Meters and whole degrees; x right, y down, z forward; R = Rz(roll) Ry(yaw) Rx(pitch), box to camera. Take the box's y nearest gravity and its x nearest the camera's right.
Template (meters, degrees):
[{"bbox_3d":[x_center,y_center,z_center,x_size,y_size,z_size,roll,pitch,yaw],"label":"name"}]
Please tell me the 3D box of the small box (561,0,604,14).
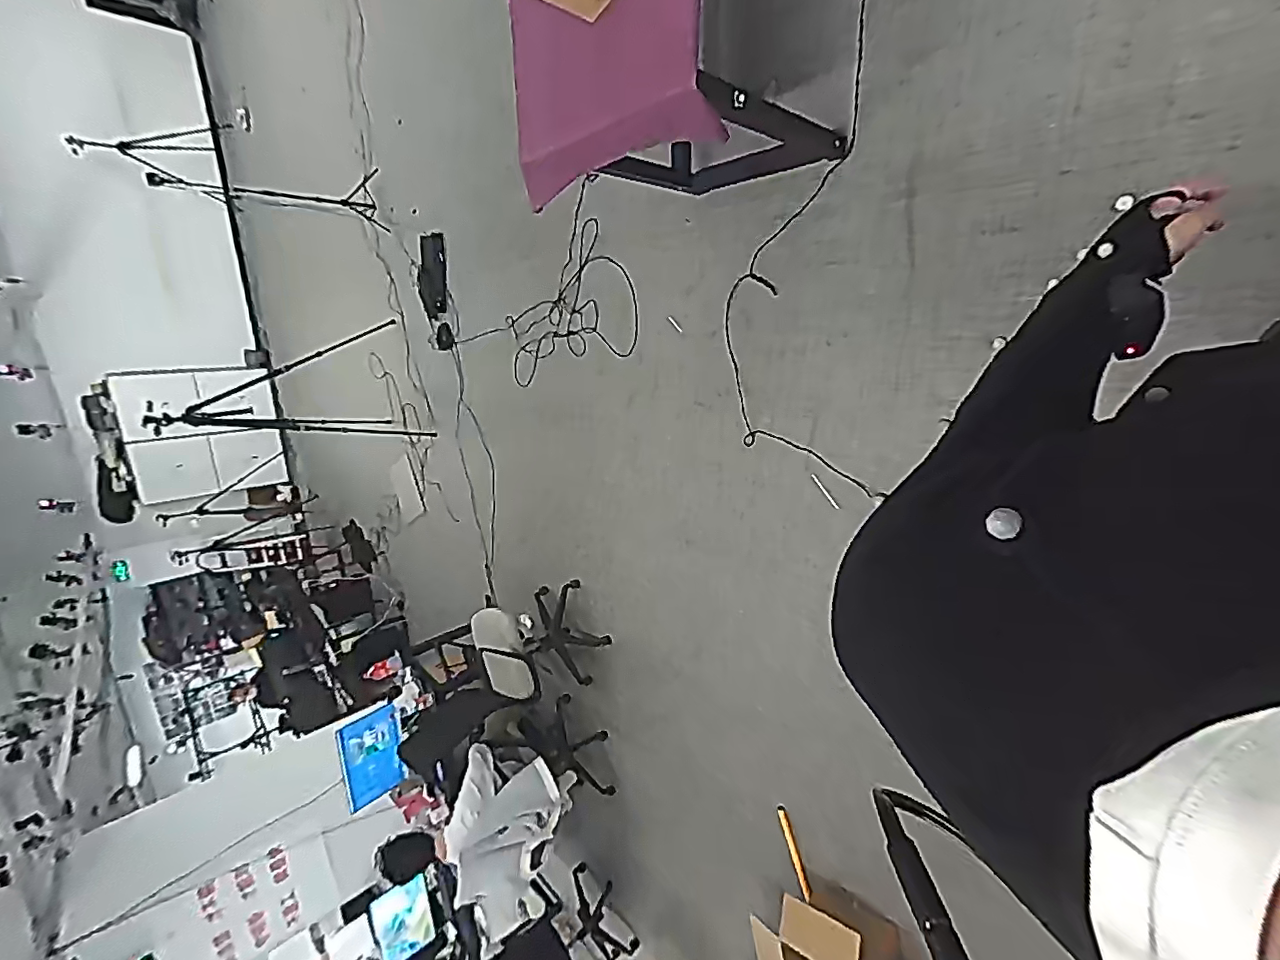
[{"bbox_3d":[-0.135,-1.098,1.079,0.168,0.176,0.179,-4,100,49],"label":"small box"}]
